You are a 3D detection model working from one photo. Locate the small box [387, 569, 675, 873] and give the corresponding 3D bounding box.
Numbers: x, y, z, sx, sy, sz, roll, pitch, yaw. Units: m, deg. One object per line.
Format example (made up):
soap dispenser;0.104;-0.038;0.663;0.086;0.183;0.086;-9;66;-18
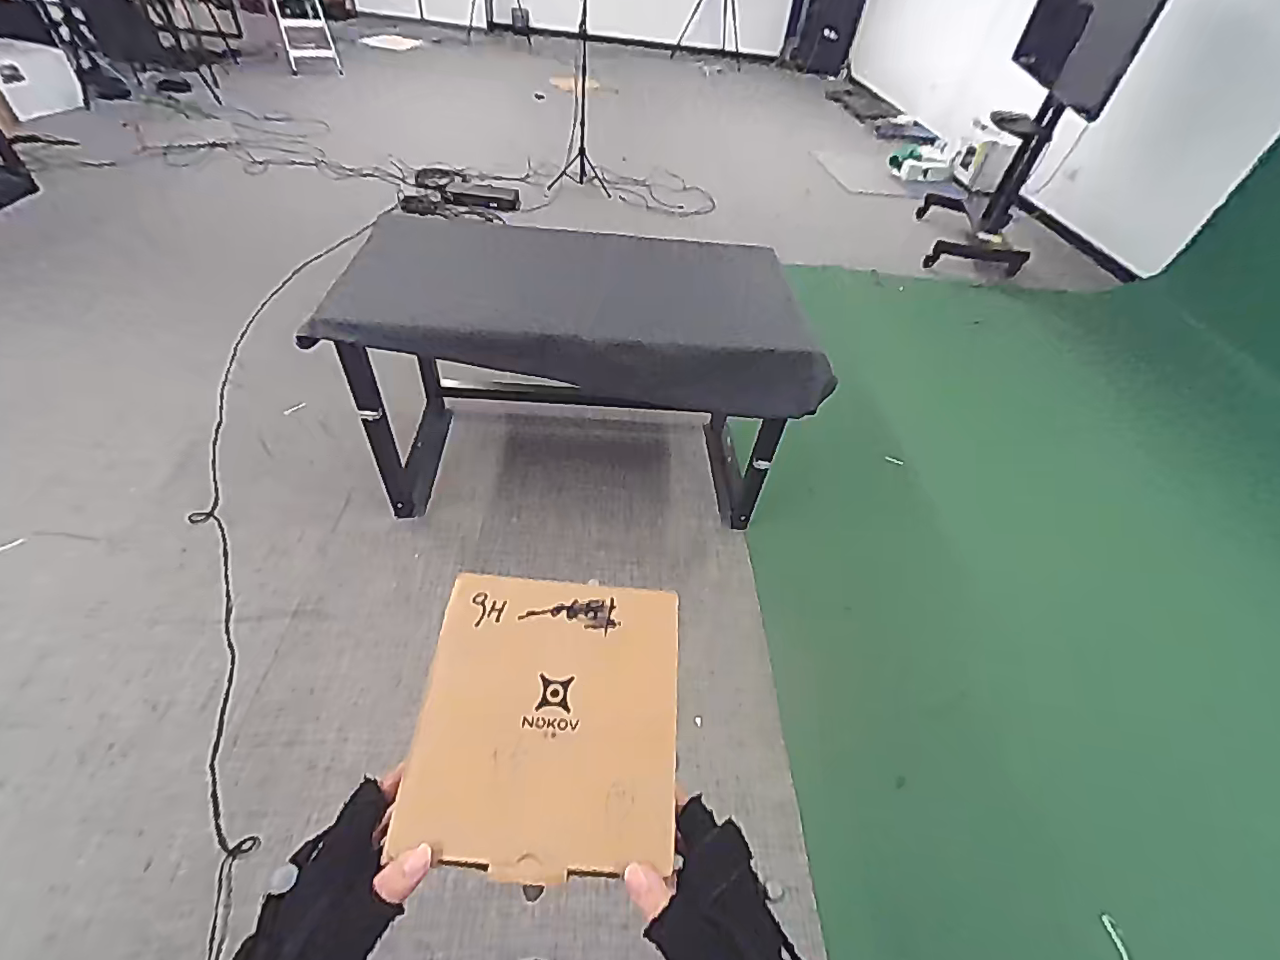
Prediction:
small box;-0.065;0.187;0.420;0.168;0.176;0.179;5;57;-2
